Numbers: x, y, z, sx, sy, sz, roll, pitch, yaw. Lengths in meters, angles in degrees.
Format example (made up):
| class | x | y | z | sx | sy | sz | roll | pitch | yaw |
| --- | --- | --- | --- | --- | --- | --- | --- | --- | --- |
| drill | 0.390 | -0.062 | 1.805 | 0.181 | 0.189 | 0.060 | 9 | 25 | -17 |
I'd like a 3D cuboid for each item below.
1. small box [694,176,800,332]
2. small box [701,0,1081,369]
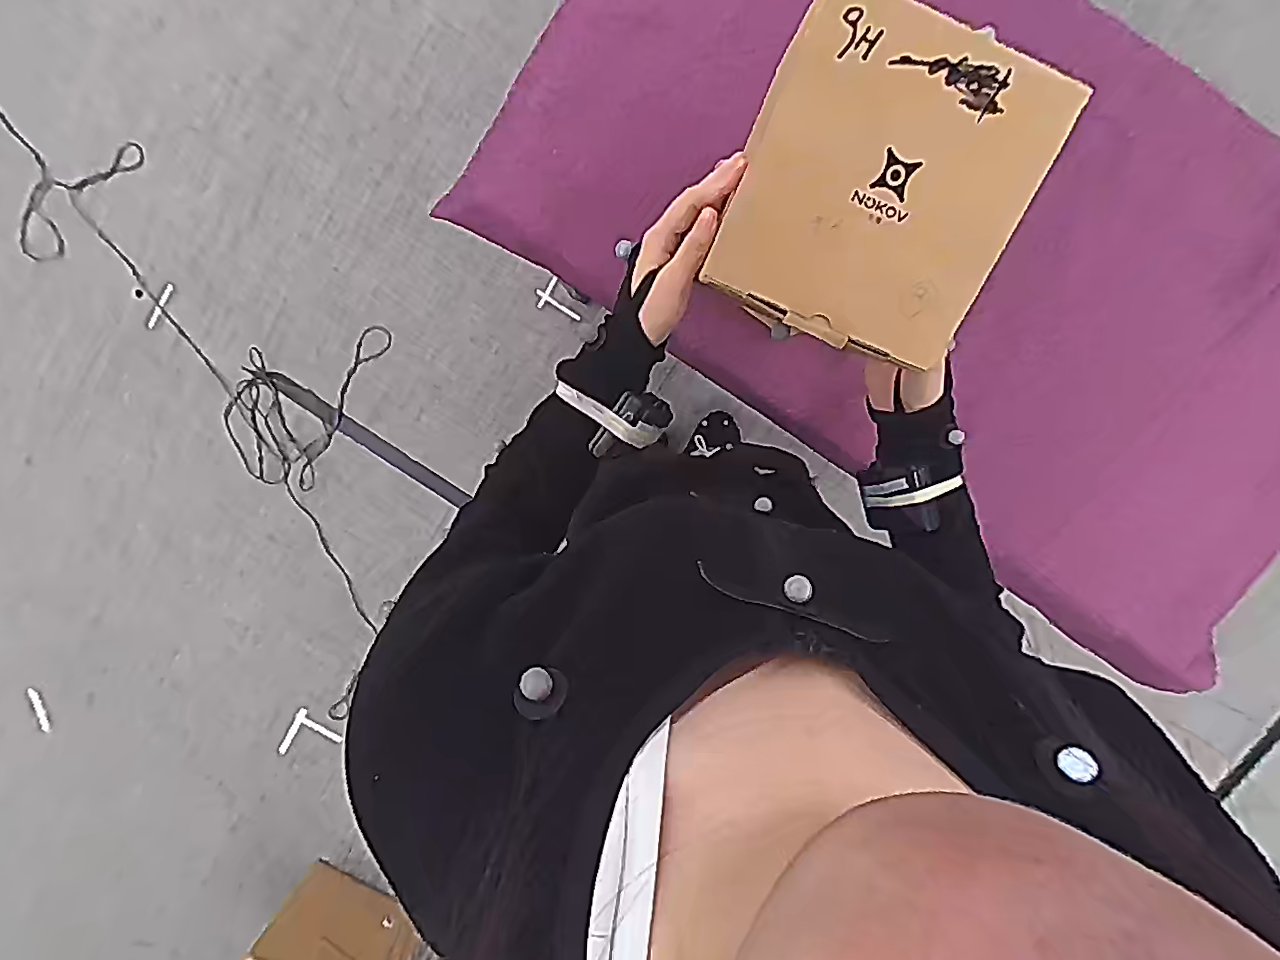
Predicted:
| class | x | y | z | sx | sy | sz | roll | pitch | yaw |
| --- | --- | --- | --- | --- | --- | --- | --- | --- | --- |
| small box | 0.176 | -0.299 | 0.645 | 0.168 | 0.176 | 0.179 | 34 | 97 | -4 |
| small box | 0.153 | -0.207 | 0.407 | 0.168 | 0.176 | 0.179 | 22 | 110 | -6 |
